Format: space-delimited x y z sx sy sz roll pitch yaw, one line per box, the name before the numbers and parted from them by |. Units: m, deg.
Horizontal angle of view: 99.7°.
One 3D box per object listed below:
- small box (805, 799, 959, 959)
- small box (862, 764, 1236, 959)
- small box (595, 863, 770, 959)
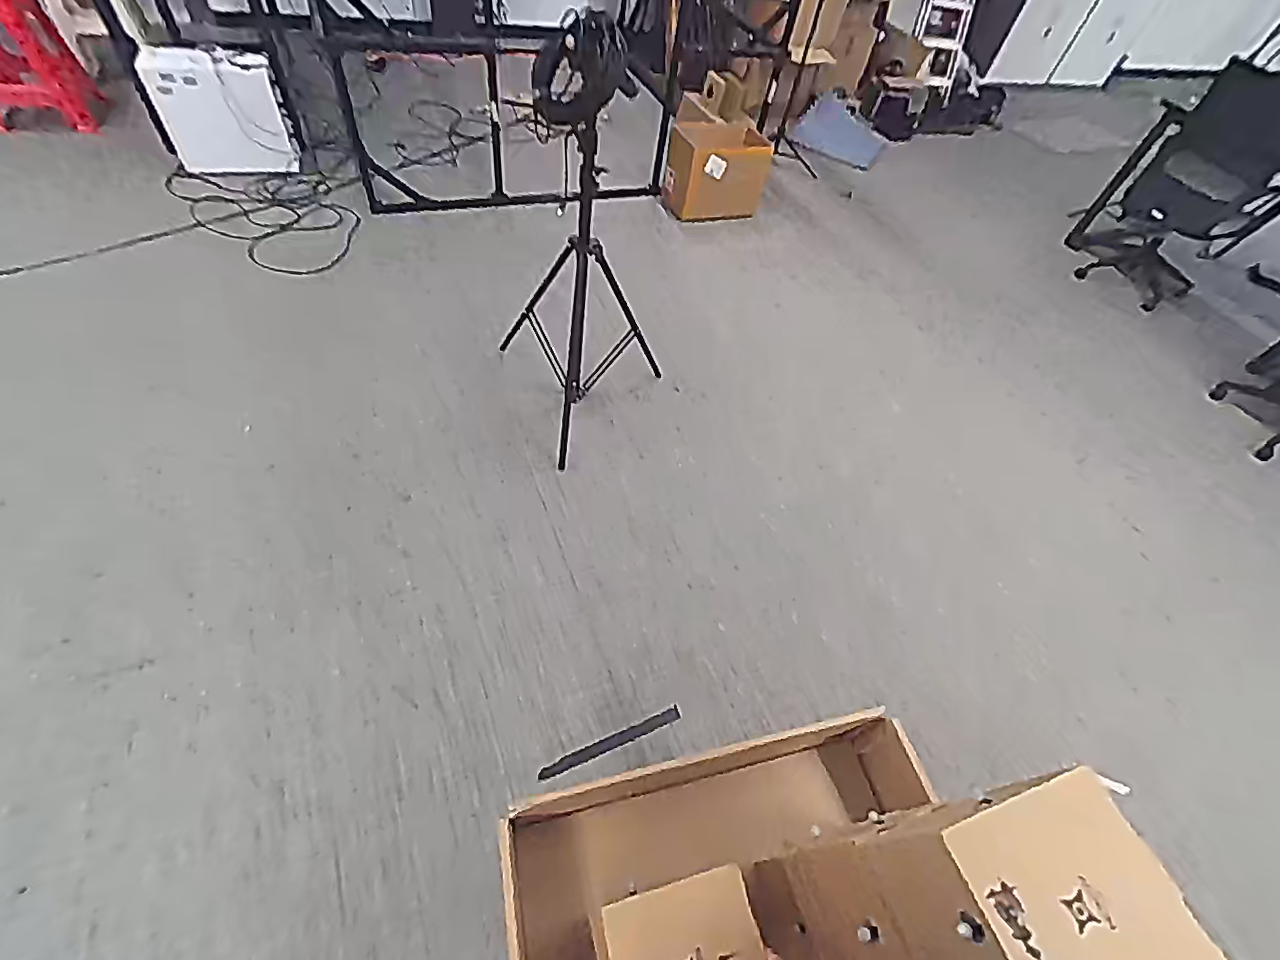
small box | 0.315 0.481 0.602 0.168 0.176 0.179 -9 54 -16
small box | 0.338 0.377 0.477 0.179 0.176 0.168 -10 54 -17
small box | 0.047 0.580 0.638 0.179 0.176 0.168 -6 53 -16
